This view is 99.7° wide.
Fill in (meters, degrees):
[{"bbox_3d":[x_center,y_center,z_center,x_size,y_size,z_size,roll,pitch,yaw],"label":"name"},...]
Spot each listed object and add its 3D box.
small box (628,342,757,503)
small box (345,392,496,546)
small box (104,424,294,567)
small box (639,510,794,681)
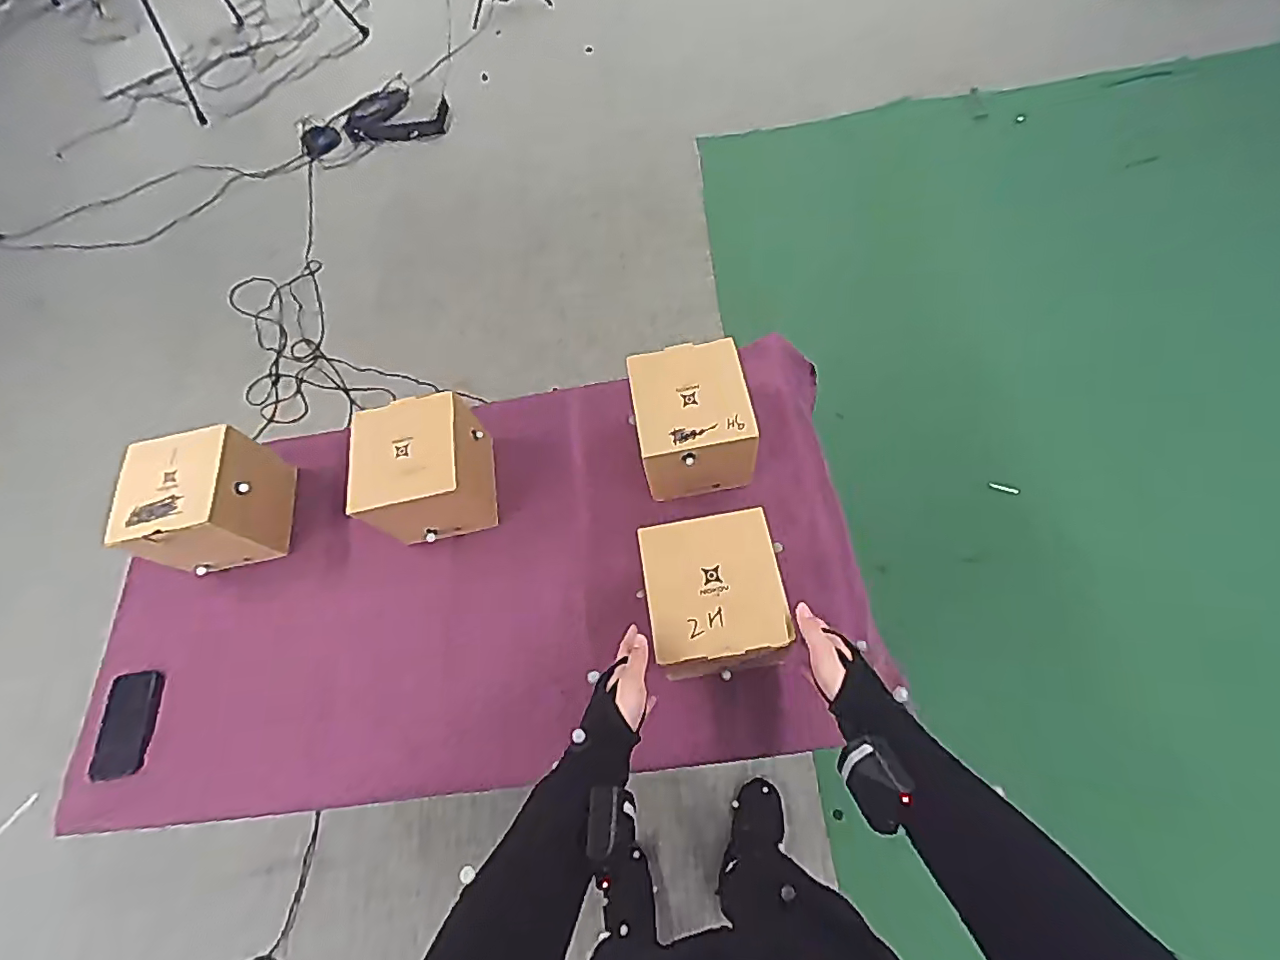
[{"bbox_3d":[0.079,-0.085,0.849,0.168,0.176,0.179,-10,64,4],"label":"small box"},{"bbox_3d":[-0.342,-0.011,0.872,0.168,0.176,0.179,-12,65,3],"label":"small box"},{"bbox_3d":[-0.710,0.035,0.895,0.168,0.176,0.179,-11,63,1],"label":"small box"},{"bbox_3d":[0.097,0.162,0.728,0.168,0.176,0.179,-10,63,4],"label":"small box"}]
